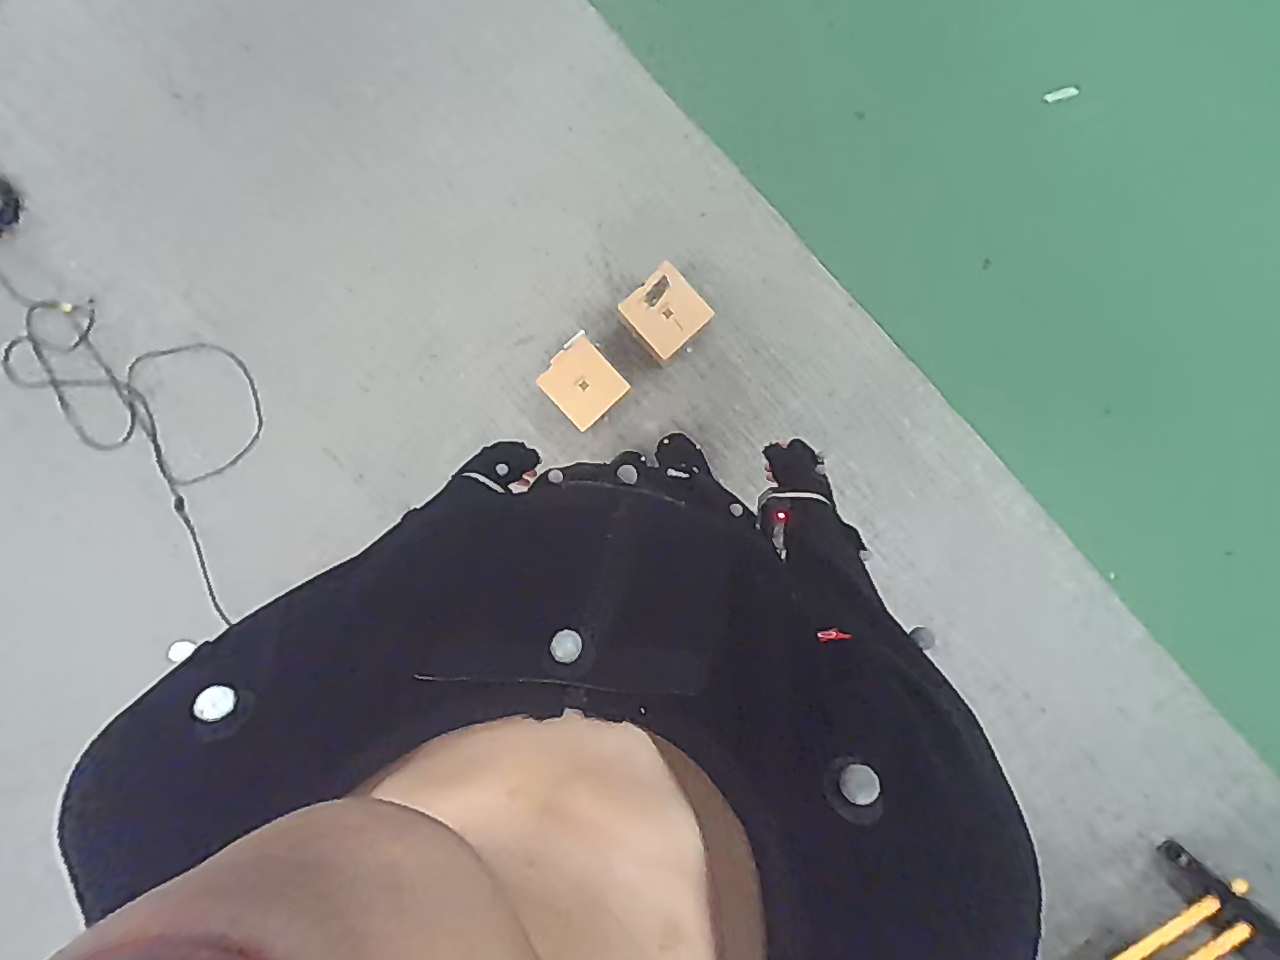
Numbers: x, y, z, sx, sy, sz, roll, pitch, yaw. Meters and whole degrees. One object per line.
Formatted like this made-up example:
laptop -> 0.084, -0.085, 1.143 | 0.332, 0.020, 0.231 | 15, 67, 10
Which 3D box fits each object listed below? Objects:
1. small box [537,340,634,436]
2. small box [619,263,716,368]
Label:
small box -> -0.131, -0.230, 1.384 | 0.168, 0.176, 0.179 | -44, 91, 5
small box -> 0.067, -0.402, 1.360 | 0.168, 0.176, 0.179 | -43, 93, 5
